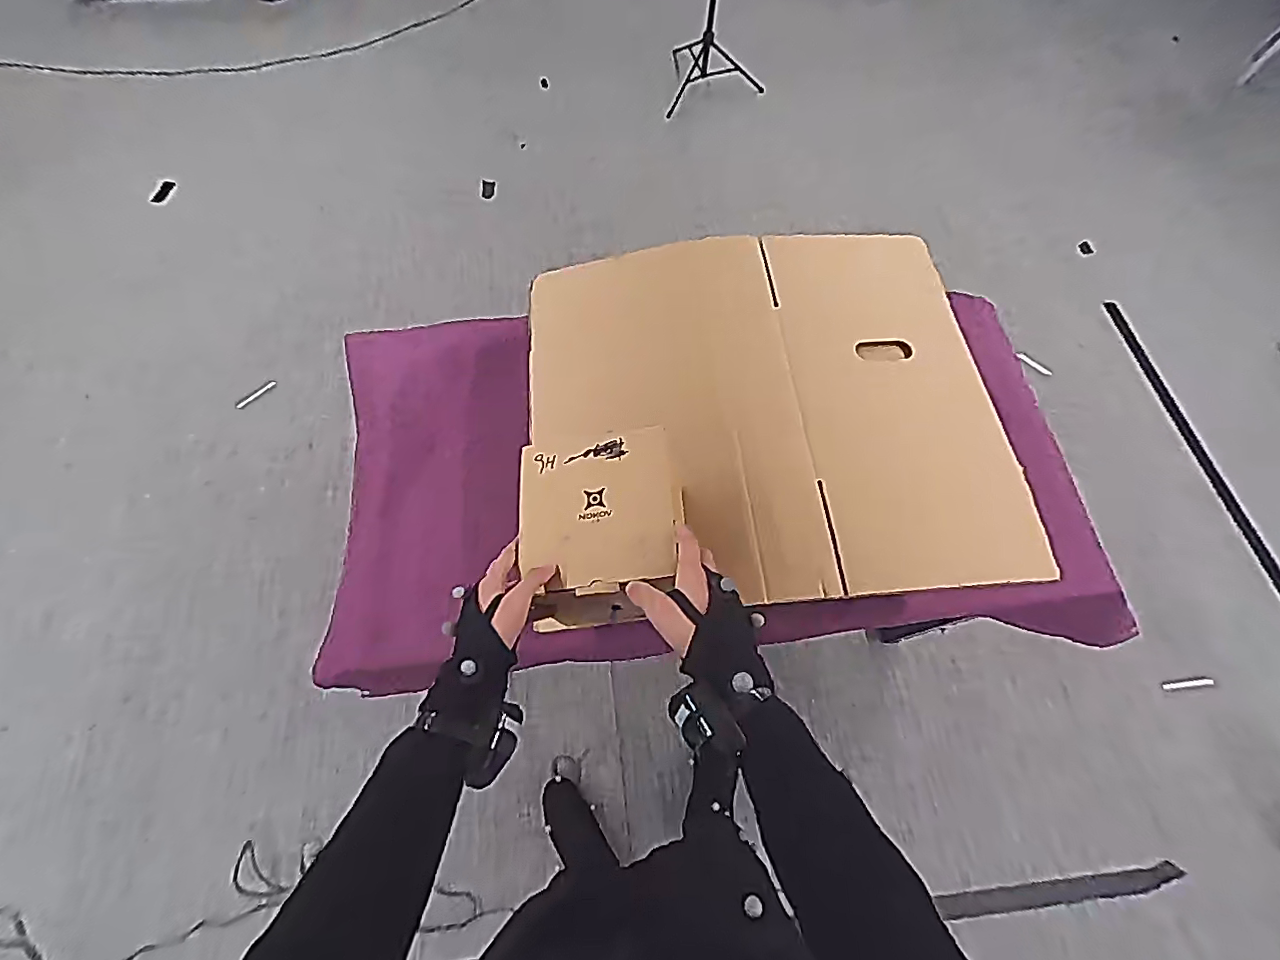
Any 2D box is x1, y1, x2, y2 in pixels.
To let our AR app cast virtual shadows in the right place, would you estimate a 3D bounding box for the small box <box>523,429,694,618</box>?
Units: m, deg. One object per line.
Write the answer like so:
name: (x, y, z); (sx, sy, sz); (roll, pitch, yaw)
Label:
small box: (-0.030, 0.063, 0.645); (0.168, 0.176, 0.179); (-8, 64, 8)
